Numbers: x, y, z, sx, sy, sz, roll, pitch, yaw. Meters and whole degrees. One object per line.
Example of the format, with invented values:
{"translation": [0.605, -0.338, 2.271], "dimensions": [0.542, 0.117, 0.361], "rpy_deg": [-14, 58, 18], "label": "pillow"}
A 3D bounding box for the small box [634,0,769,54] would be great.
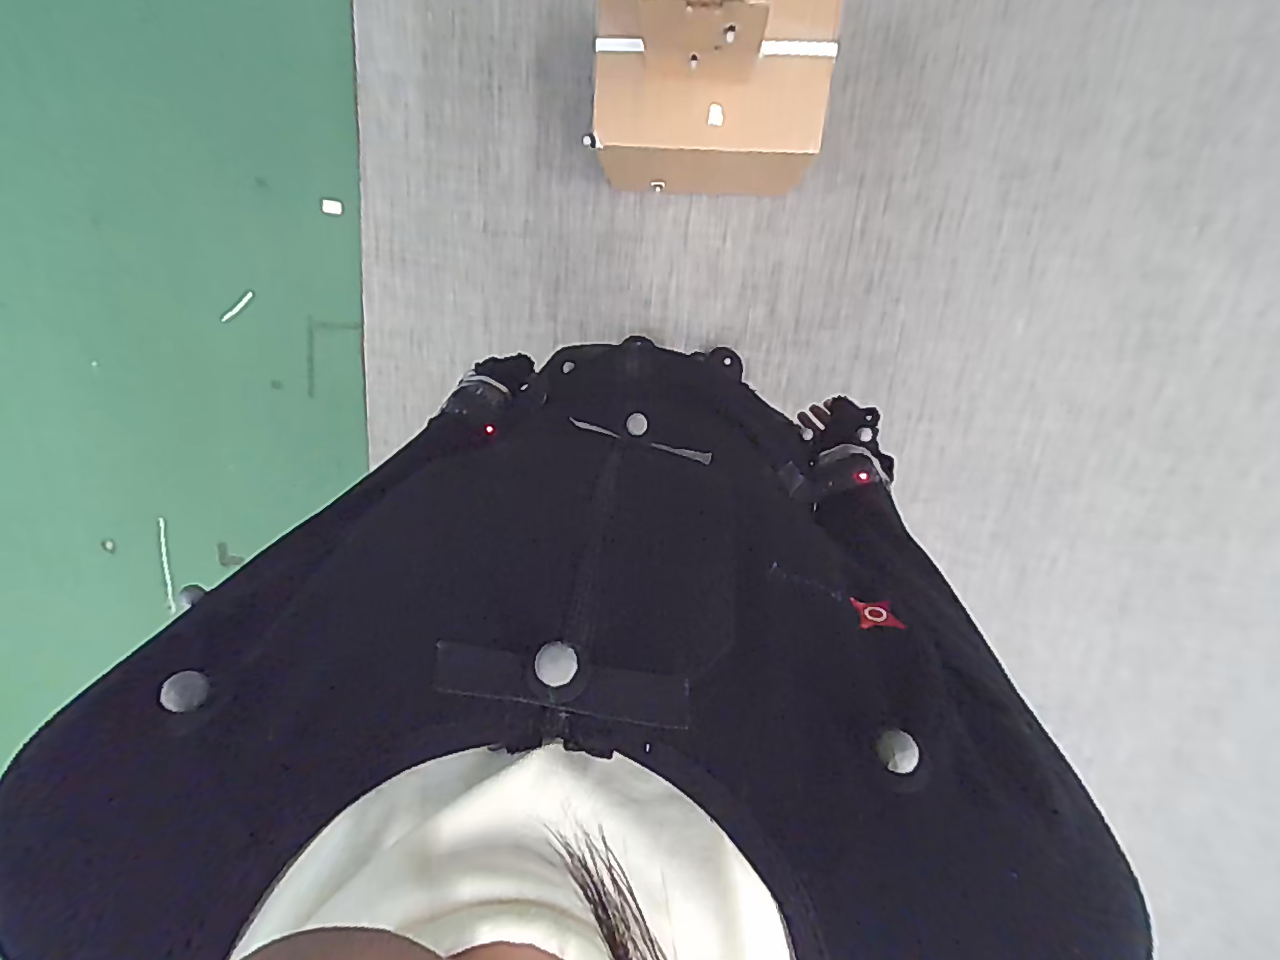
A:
{"translation": [0.085, -0.673, 0.682], "dimensions": [0.168, 0.176, 0.179], "rpy_deg": [5, 110, 2], "label": "small box"}

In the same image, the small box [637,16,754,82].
{"translation": [0.101, -0.740, 0.825], "dimensions": [0.179, 0.176, 0.168], "rpy_deg": [12, 110, 1], "label": "small box"}
